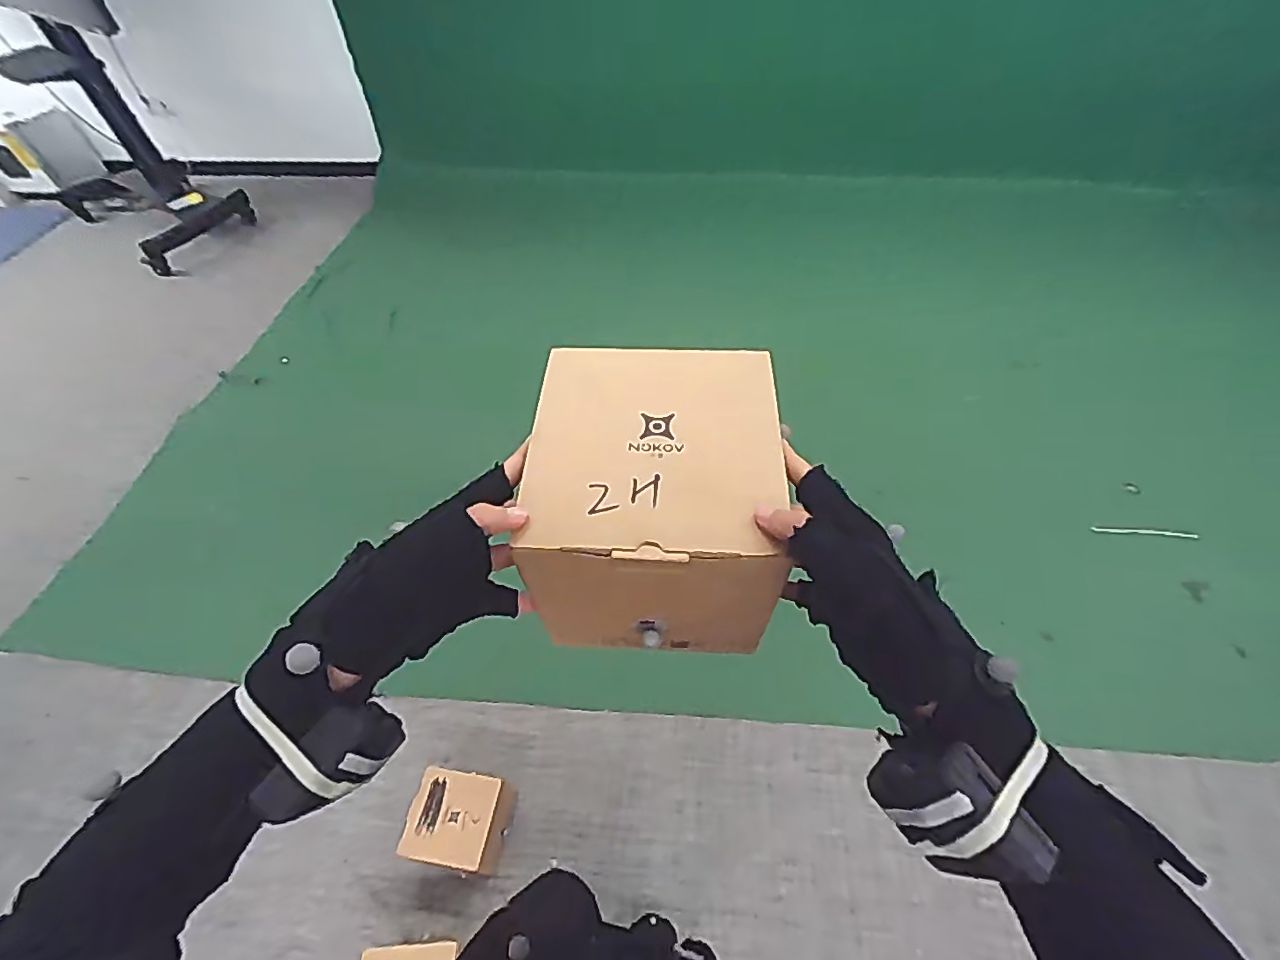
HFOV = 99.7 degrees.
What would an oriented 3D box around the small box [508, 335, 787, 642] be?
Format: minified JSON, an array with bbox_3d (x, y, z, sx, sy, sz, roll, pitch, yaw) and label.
[{"bbox_3d":[0.011,0.009,0.424,0.168,0.176,0.179,1,54,4],"label":"small box"}]

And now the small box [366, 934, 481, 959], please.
[{"bbox_3d":[-0.406,0.961,1.006,0.179,0.176,0.168,-4,51,-1],"label":"small box"}]
